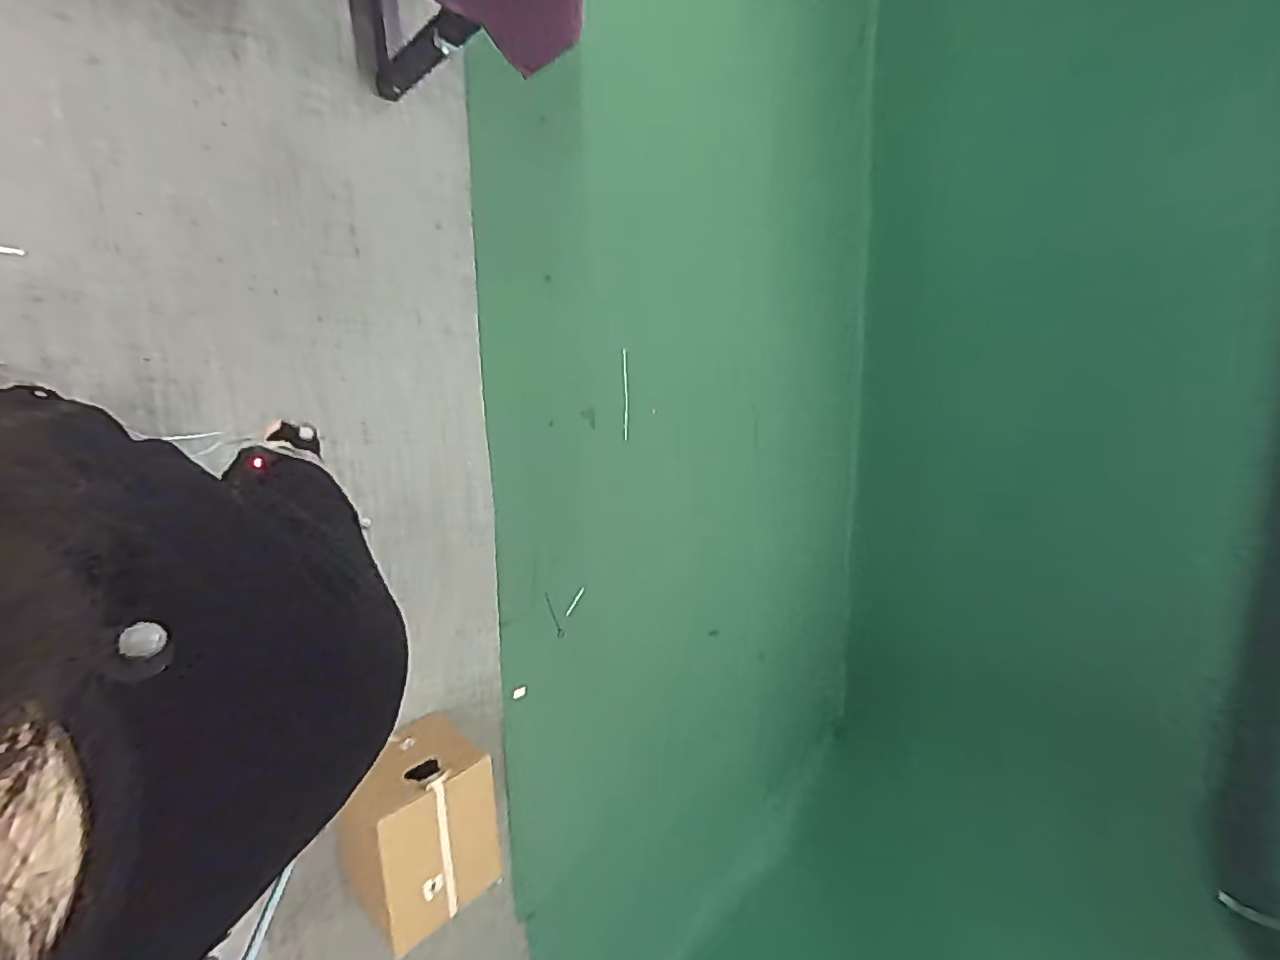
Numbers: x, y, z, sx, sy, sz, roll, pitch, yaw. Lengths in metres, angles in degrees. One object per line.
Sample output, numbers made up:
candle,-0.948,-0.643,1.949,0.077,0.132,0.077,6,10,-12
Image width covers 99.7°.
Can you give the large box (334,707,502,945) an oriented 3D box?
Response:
large box,-0.621,0.940,1.528,0.320,0.320,0.408,-13,106,-47
